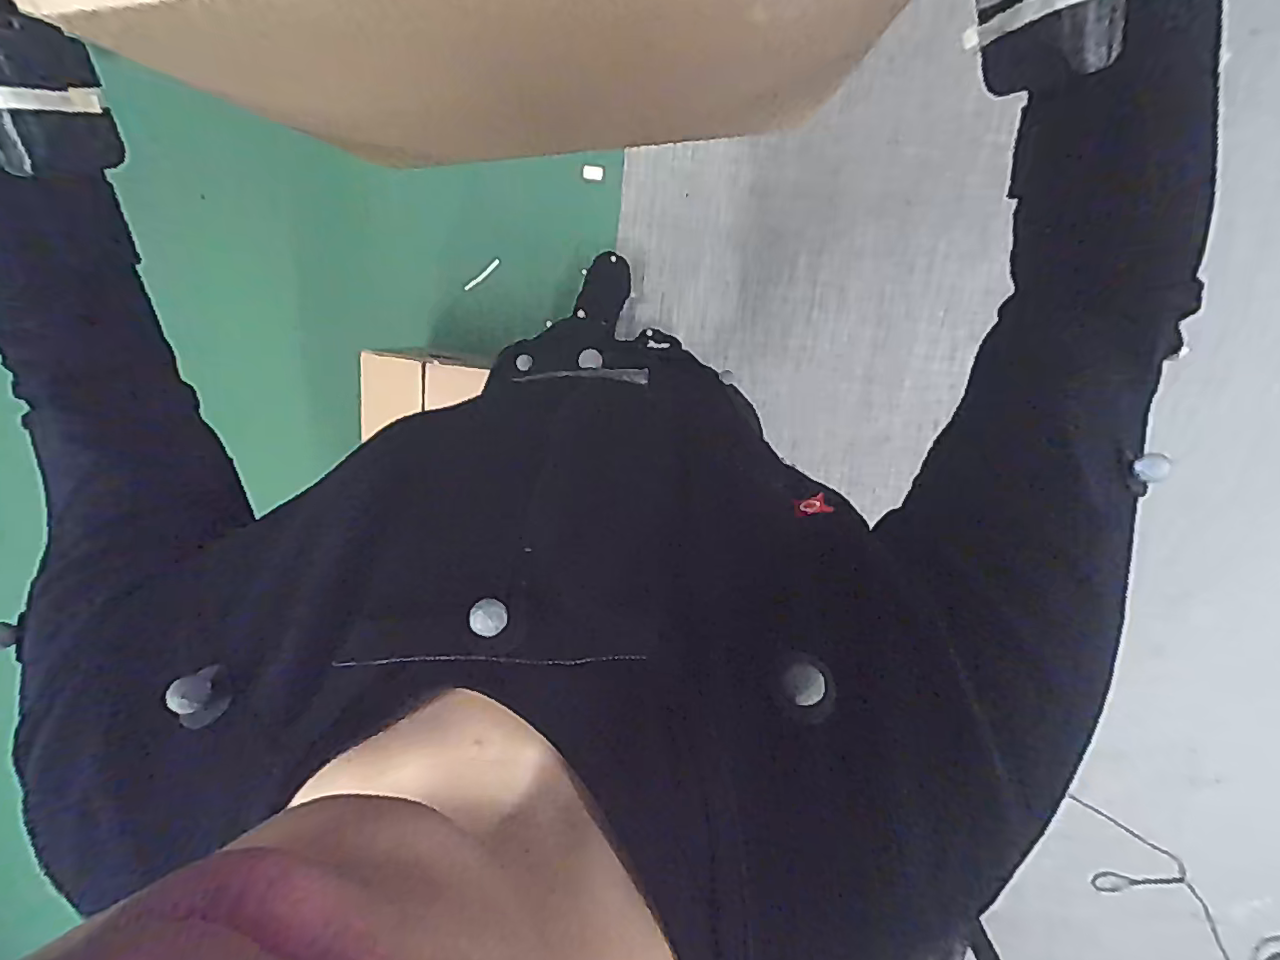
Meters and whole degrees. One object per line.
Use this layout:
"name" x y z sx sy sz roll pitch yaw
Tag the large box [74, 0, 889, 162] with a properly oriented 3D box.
"large box" -0.065 -0.410 0.311 0.408 0.320 0.320 -4 109 3
